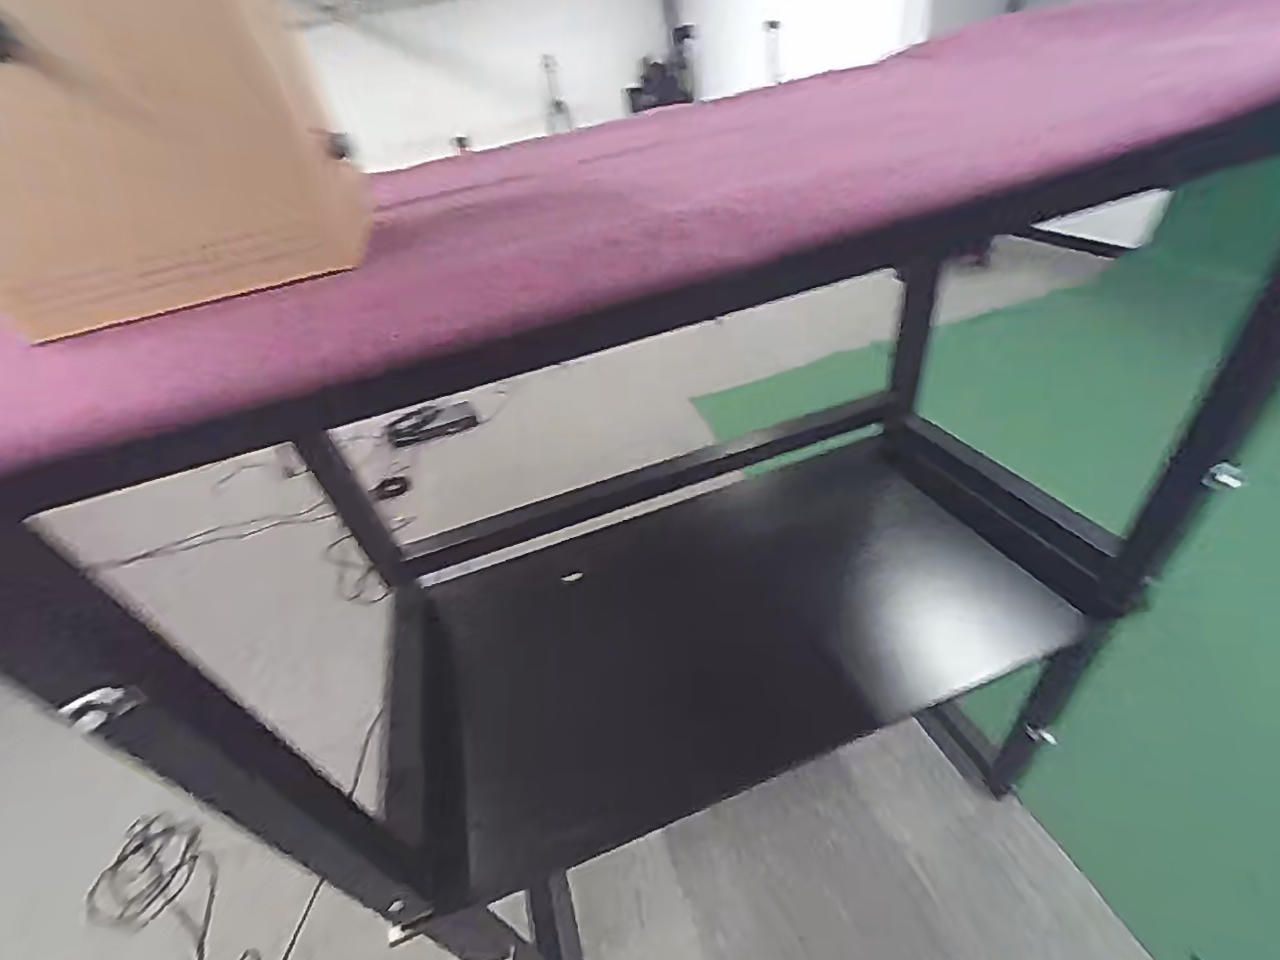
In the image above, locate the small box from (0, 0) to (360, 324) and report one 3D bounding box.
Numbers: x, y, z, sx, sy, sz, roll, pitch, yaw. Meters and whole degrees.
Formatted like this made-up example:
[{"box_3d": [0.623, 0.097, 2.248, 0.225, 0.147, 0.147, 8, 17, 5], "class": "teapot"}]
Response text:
[{"box_3d": [-0.290, -0.206, 0.305, 0.179, 0.176, 0.168, -19, 40, -10], "class": "small box"}]
